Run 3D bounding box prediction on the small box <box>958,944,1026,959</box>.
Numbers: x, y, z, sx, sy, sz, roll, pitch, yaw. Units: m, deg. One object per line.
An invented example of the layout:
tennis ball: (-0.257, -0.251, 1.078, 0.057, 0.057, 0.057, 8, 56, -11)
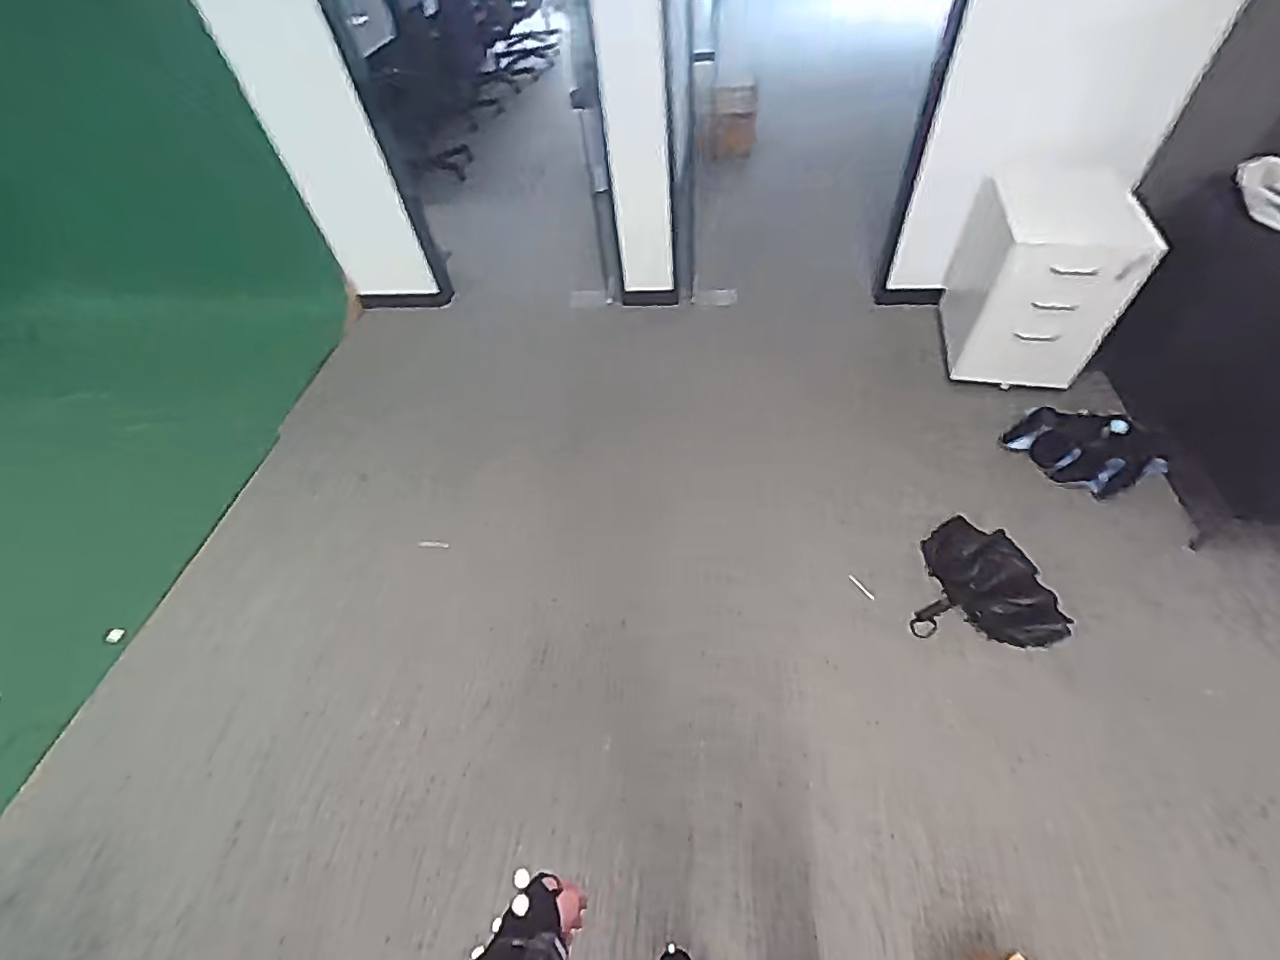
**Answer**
small box: (0.670, 1.009, 1.005, 0.179, 0.176, 0.168, -25, 54, -16)
